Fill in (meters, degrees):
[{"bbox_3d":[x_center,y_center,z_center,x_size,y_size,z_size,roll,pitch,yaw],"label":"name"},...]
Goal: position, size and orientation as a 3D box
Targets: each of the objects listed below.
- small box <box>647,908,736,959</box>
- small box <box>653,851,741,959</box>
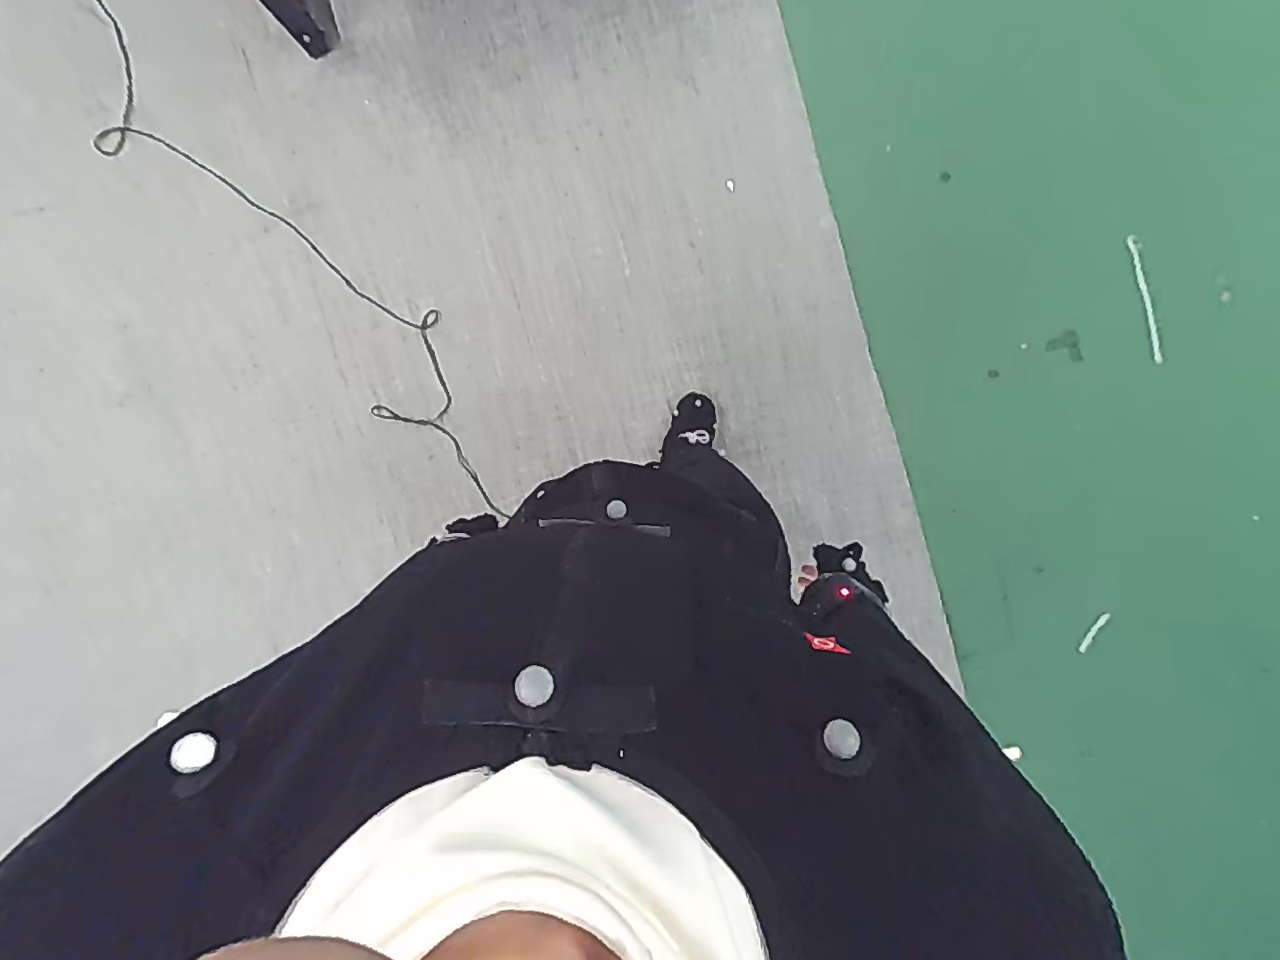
[{"bbox_3d":[0.118,1.089,1.185,0.168,0.176,0.179,-23,91,6],"label":"small box"},{"bbox_3d":[0.141,1.086,1.361,0.179,0.176,0.168,-18,93,4],"label":"small box"}]
